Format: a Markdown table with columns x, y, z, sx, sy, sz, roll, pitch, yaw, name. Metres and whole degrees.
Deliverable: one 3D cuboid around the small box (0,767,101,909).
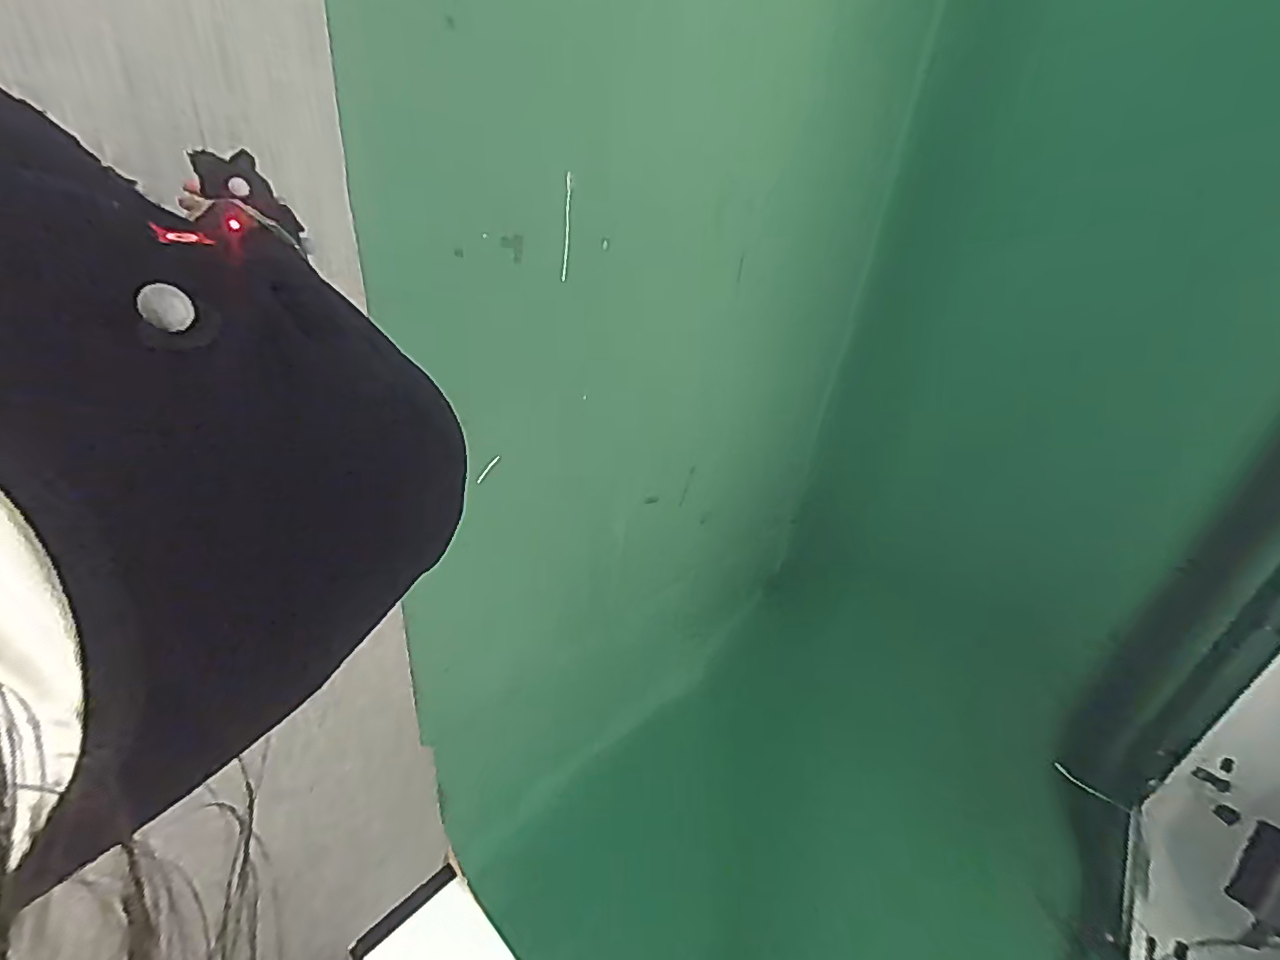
| x | y | z | sx | sy | sz | roll | pitch | yaw | name |
| --- | --- | --- | --- | --- | --- | --- | --- | --- | --- |
| -1.365 | 0.793 | 1.212 | 0.179 | 0.176 | 0.168 | -20 | 127 | -44 | small box |
